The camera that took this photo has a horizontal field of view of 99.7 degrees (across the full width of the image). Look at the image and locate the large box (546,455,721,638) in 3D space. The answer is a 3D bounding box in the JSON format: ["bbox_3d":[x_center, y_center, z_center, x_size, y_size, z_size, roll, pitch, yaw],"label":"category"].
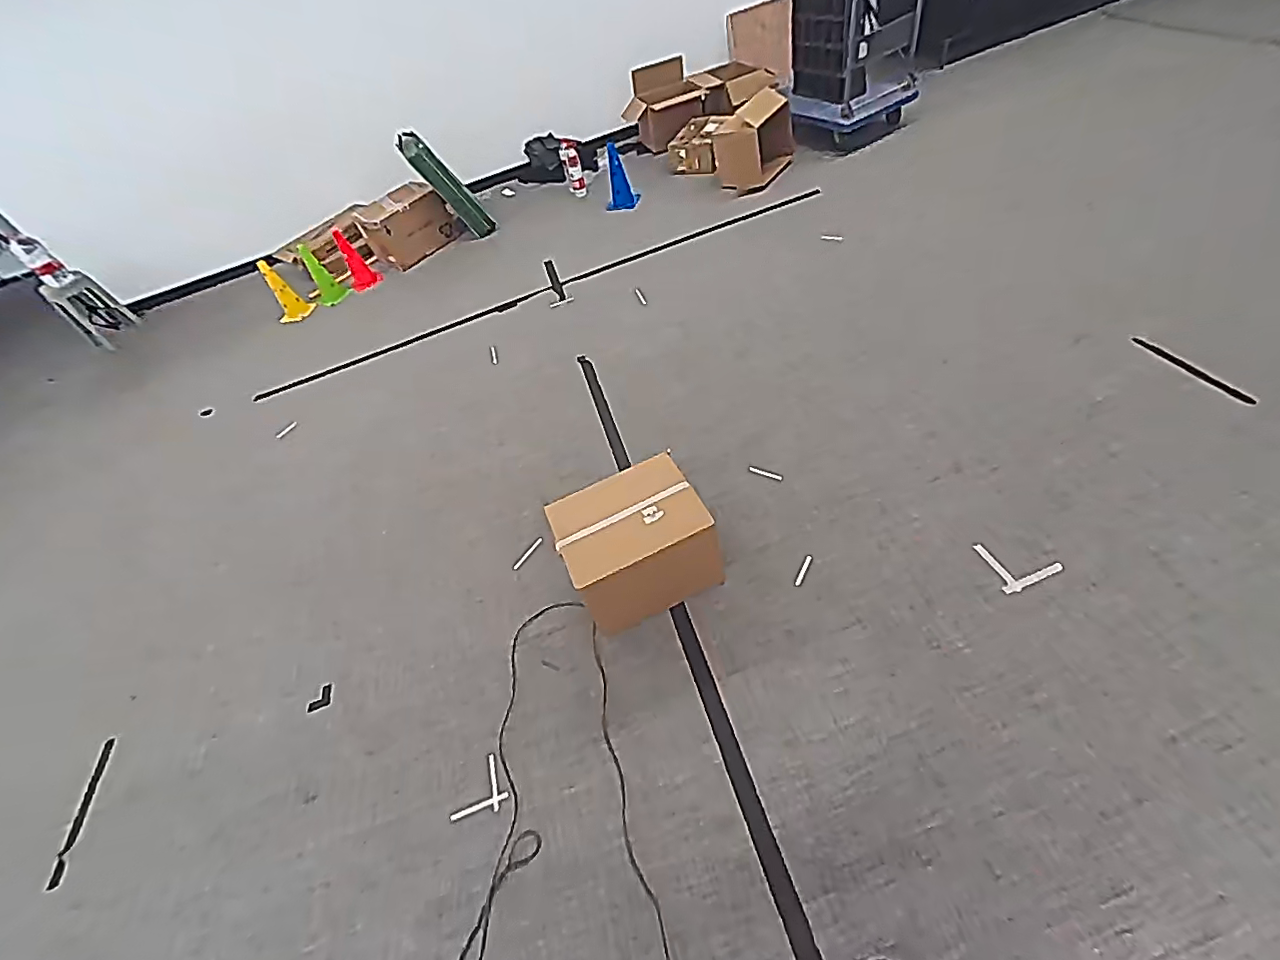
[{"bbox_3d":[-0.013,0.199,1.606,0.408,0.320,0.320,-24,49,-7],"label":"large box"}]
